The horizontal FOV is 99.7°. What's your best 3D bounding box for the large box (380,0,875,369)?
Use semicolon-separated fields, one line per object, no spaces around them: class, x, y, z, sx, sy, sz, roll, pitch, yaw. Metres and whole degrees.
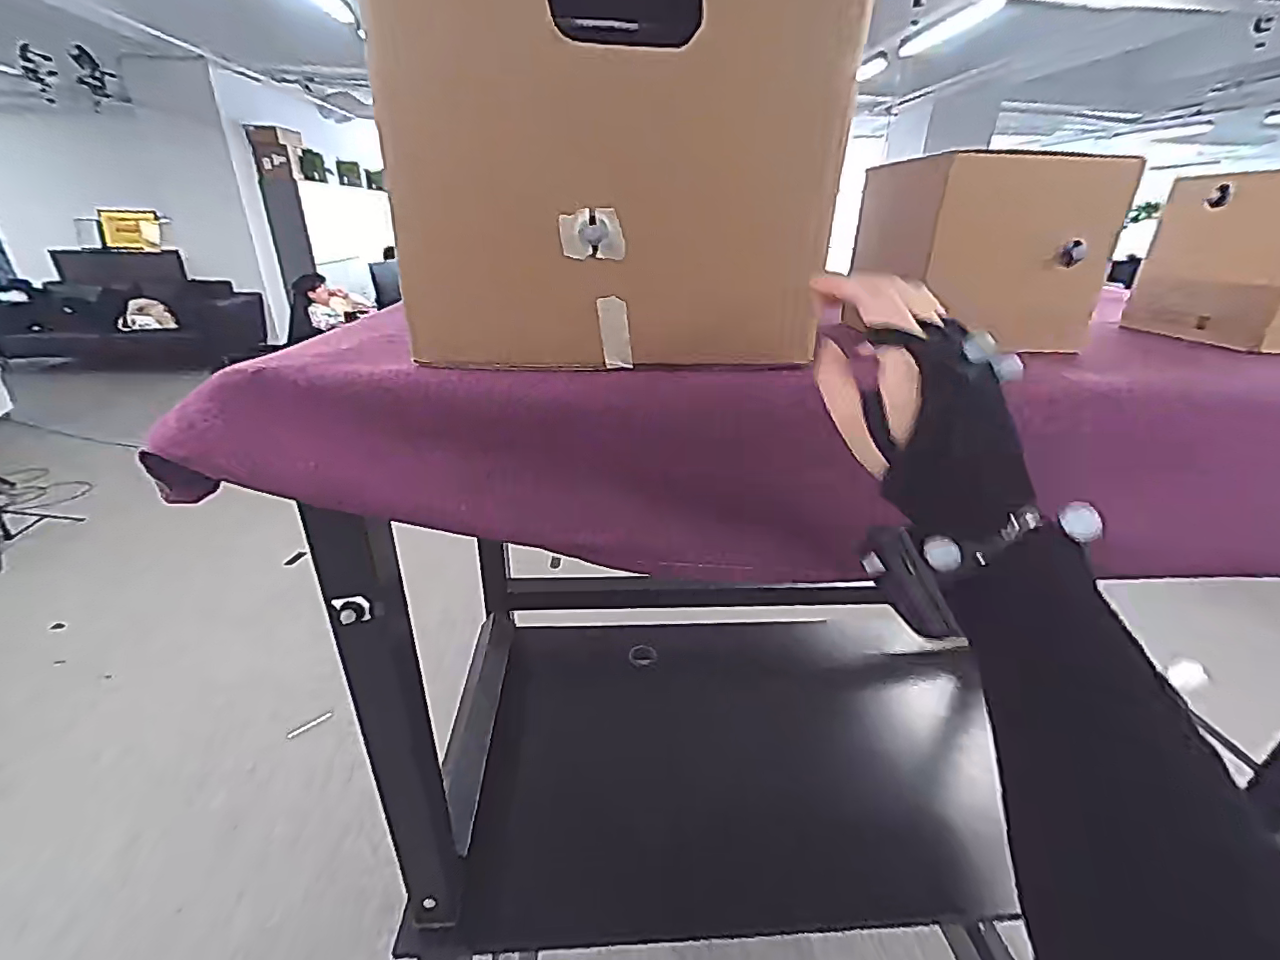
large box;-0.026;-0.304;0.525;0.320;0.320;0.408;-1;25;-6

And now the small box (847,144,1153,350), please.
small box;0.337;-0.231;0.550;0.179;0.176;0.168;-1;25;-4

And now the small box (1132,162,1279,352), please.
small box;0.692;-0.234;0.570;0.179;0.176;0.168;1;24;-2
